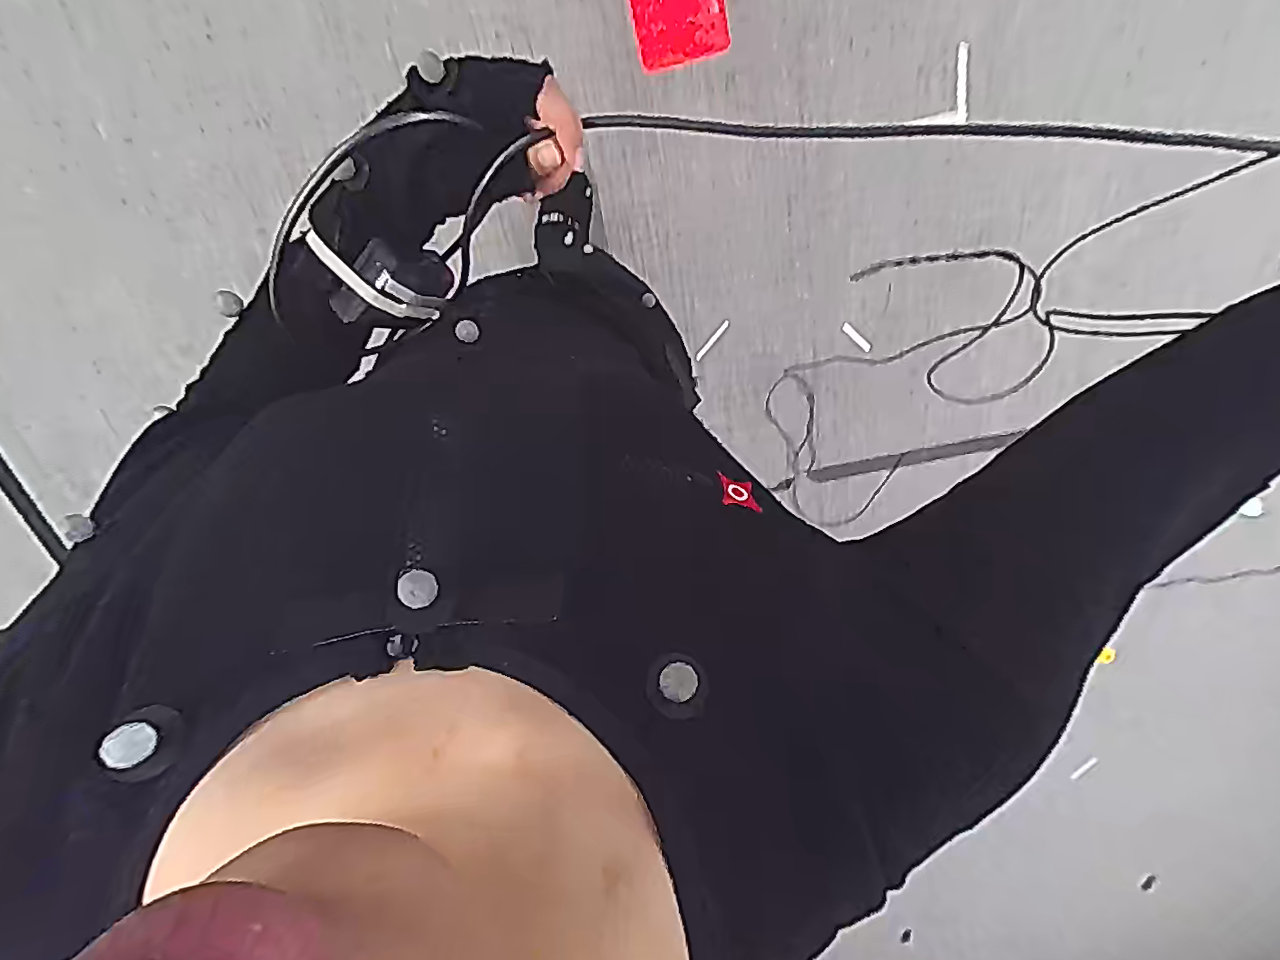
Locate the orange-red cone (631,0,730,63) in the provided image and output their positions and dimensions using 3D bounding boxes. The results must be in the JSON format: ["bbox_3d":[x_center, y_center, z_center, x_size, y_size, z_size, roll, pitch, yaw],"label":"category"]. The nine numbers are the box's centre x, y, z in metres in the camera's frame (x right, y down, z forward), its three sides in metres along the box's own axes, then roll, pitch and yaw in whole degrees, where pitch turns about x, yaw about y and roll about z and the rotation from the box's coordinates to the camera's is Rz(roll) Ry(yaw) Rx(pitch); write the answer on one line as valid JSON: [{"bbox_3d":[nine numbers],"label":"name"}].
[{"bbox_3d":[0.097,-0.923,0.952,0.199,0.360,0.198,-15,113,1],"label":"orange-red cone"}]
